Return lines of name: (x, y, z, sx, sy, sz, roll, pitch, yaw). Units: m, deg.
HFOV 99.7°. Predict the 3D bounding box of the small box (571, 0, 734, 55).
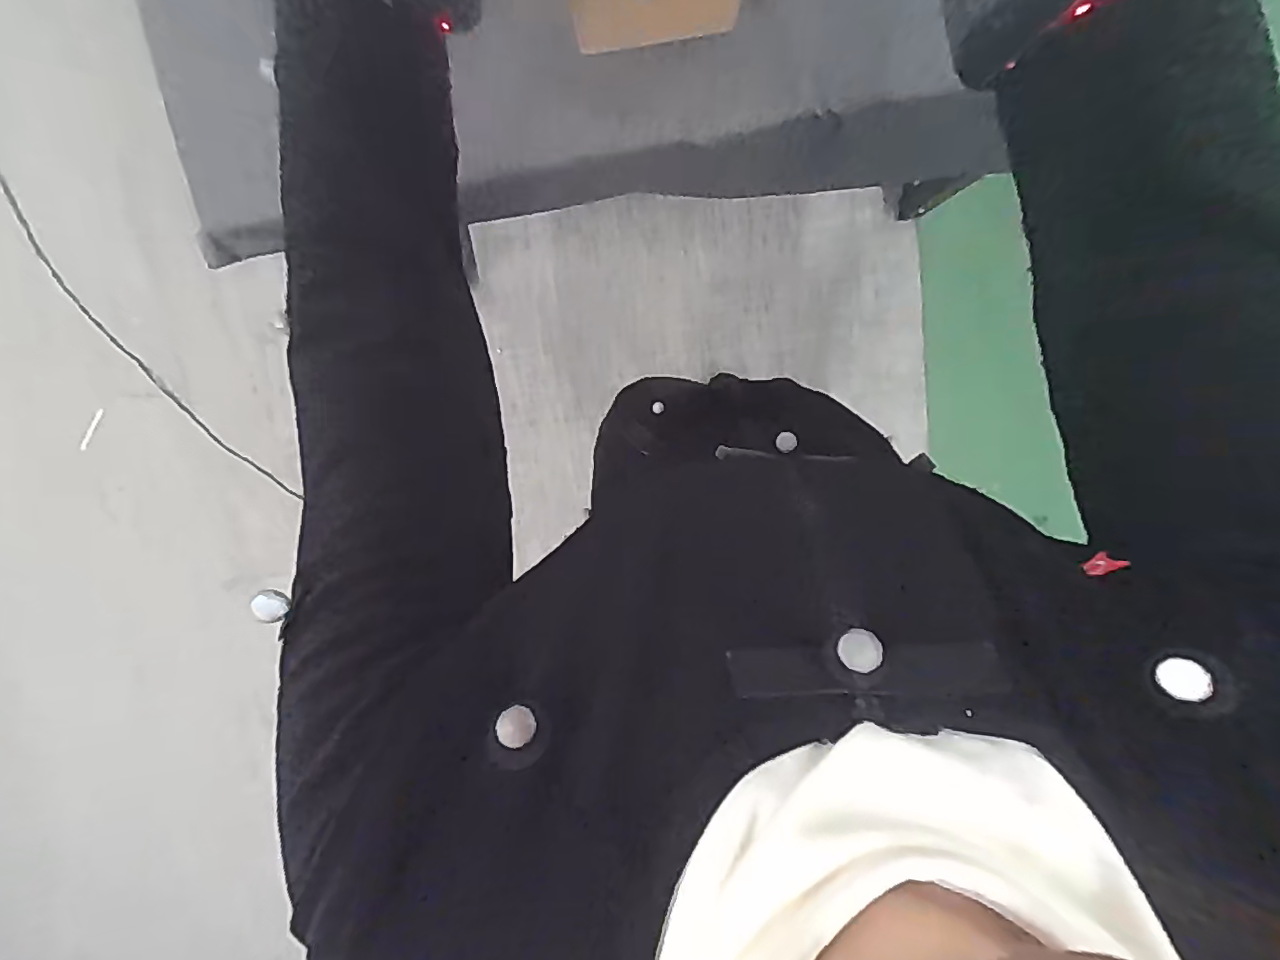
small box: (0.004, -0.562, 0.527, 0.179, 0.176, 0.168, -10, 98, 4)
